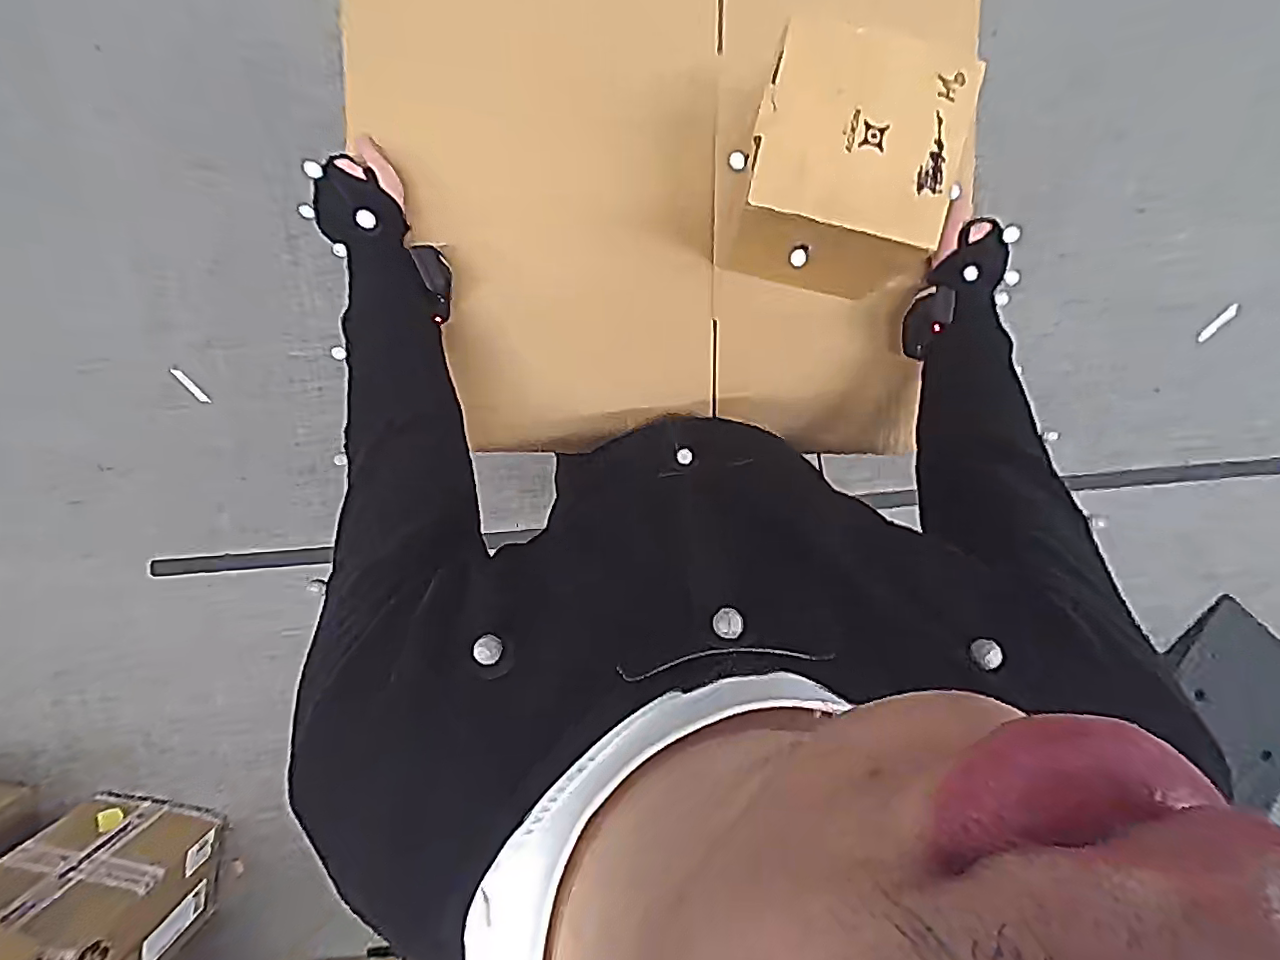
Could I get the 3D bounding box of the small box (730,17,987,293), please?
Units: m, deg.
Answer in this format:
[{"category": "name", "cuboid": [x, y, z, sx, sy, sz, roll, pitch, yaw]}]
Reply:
[{"category": "small box", "cuboid": [0.200, -0.309, 0.553, 0.179, 0.176, 0.168, 14, 94, 1]}]
